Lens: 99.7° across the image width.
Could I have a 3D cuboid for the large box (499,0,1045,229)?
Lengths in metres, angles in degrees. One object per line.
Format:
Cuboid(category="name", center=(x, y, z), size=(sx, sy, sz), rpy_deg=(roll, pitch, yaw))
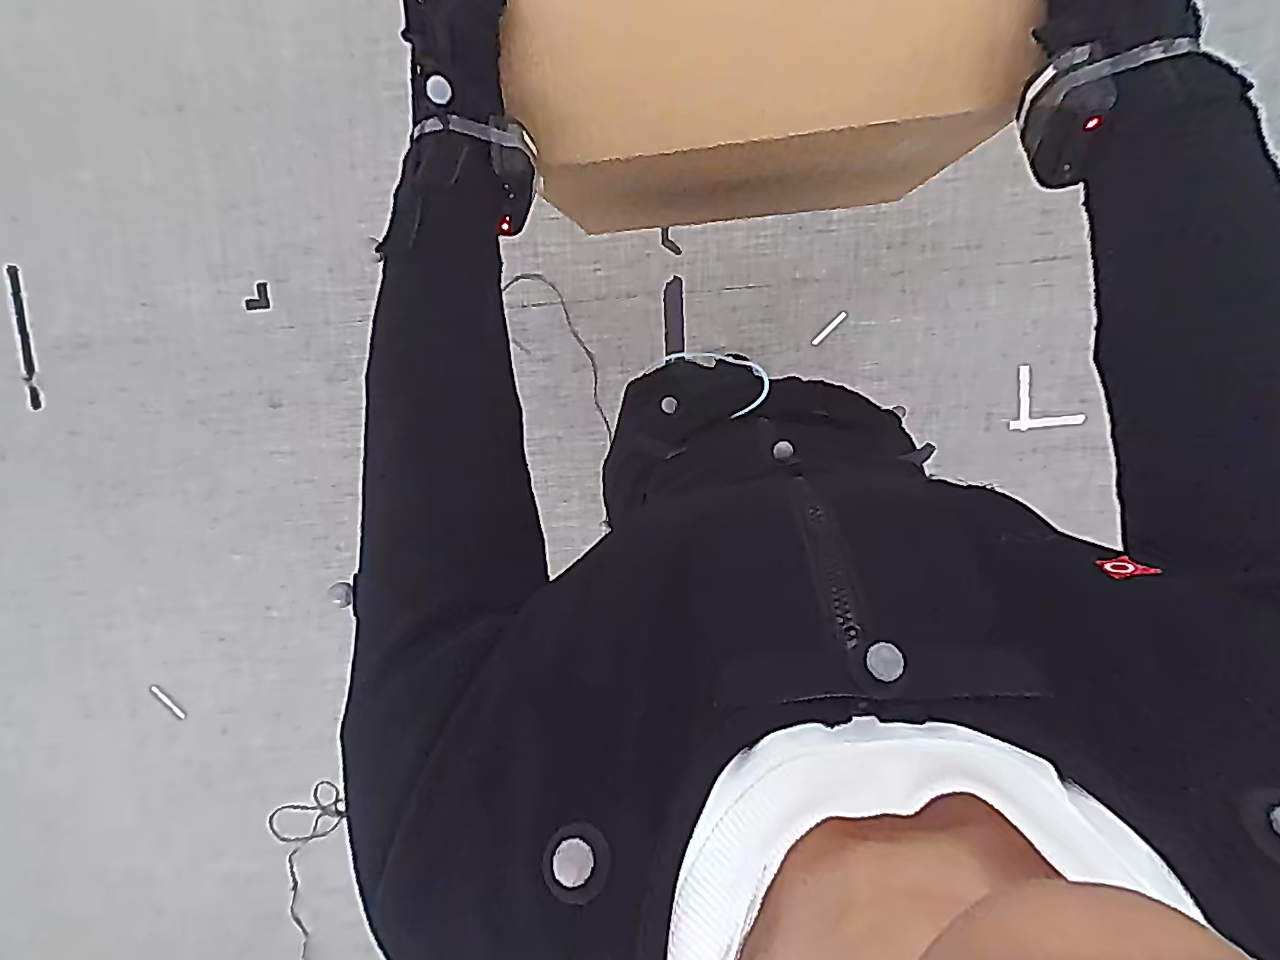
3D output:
Cuboid(category="large box", center=(0.096, -0.461, 0.527), size=(0.408, 0.320, 0.320), rpy_deg=(-4, 105, 7))
